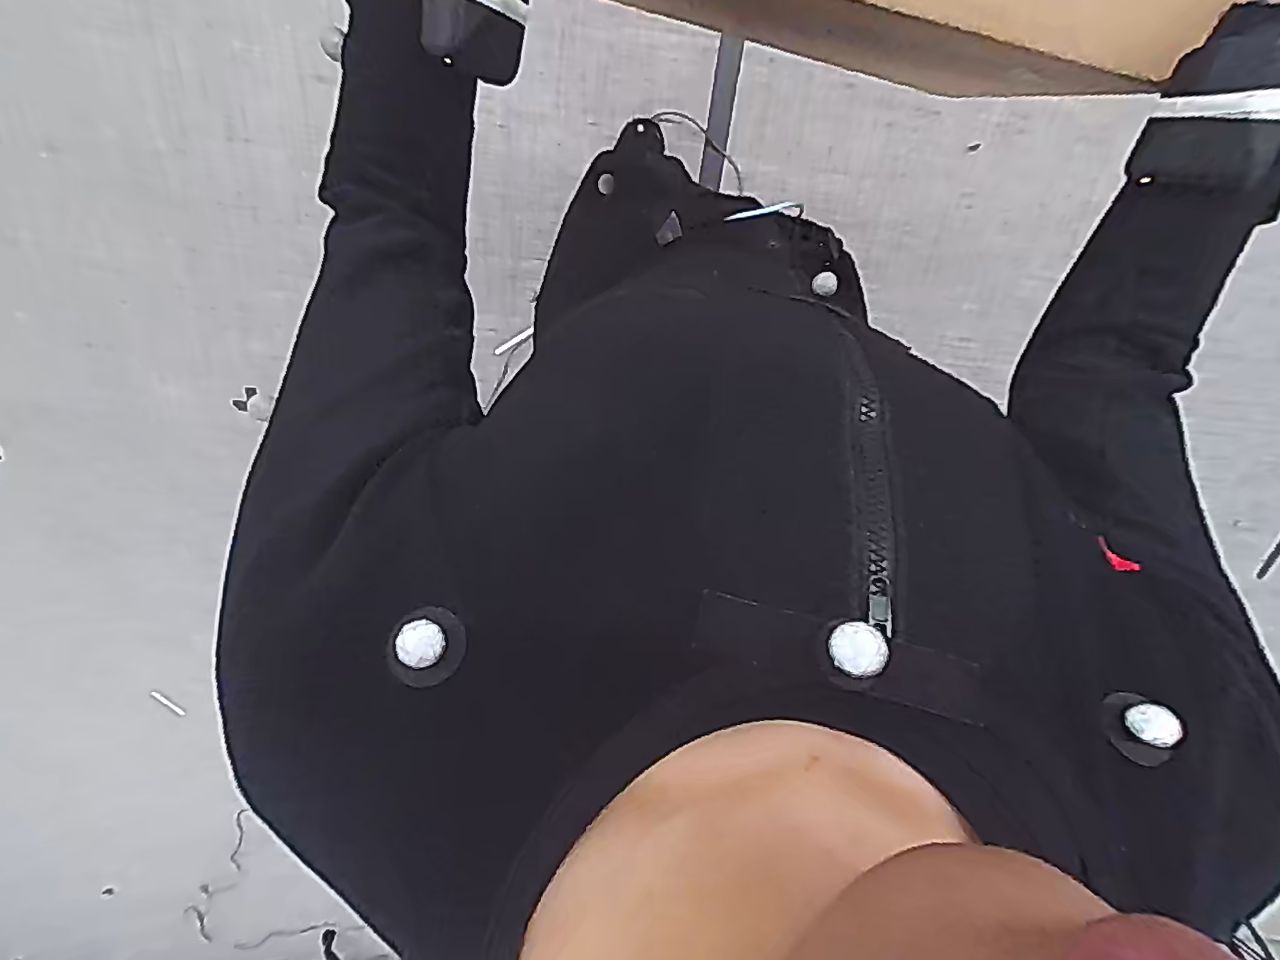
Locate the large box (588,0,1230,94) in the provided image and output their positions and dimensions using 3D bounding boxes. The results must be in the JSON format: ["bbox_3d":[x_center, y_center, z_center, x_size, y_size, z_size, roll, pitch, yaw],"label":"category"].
[{"bbox_3d":[0.157,-0.473,0.340,0.408,0.320,0.320,11,126,-6],"label":"large box"}]
